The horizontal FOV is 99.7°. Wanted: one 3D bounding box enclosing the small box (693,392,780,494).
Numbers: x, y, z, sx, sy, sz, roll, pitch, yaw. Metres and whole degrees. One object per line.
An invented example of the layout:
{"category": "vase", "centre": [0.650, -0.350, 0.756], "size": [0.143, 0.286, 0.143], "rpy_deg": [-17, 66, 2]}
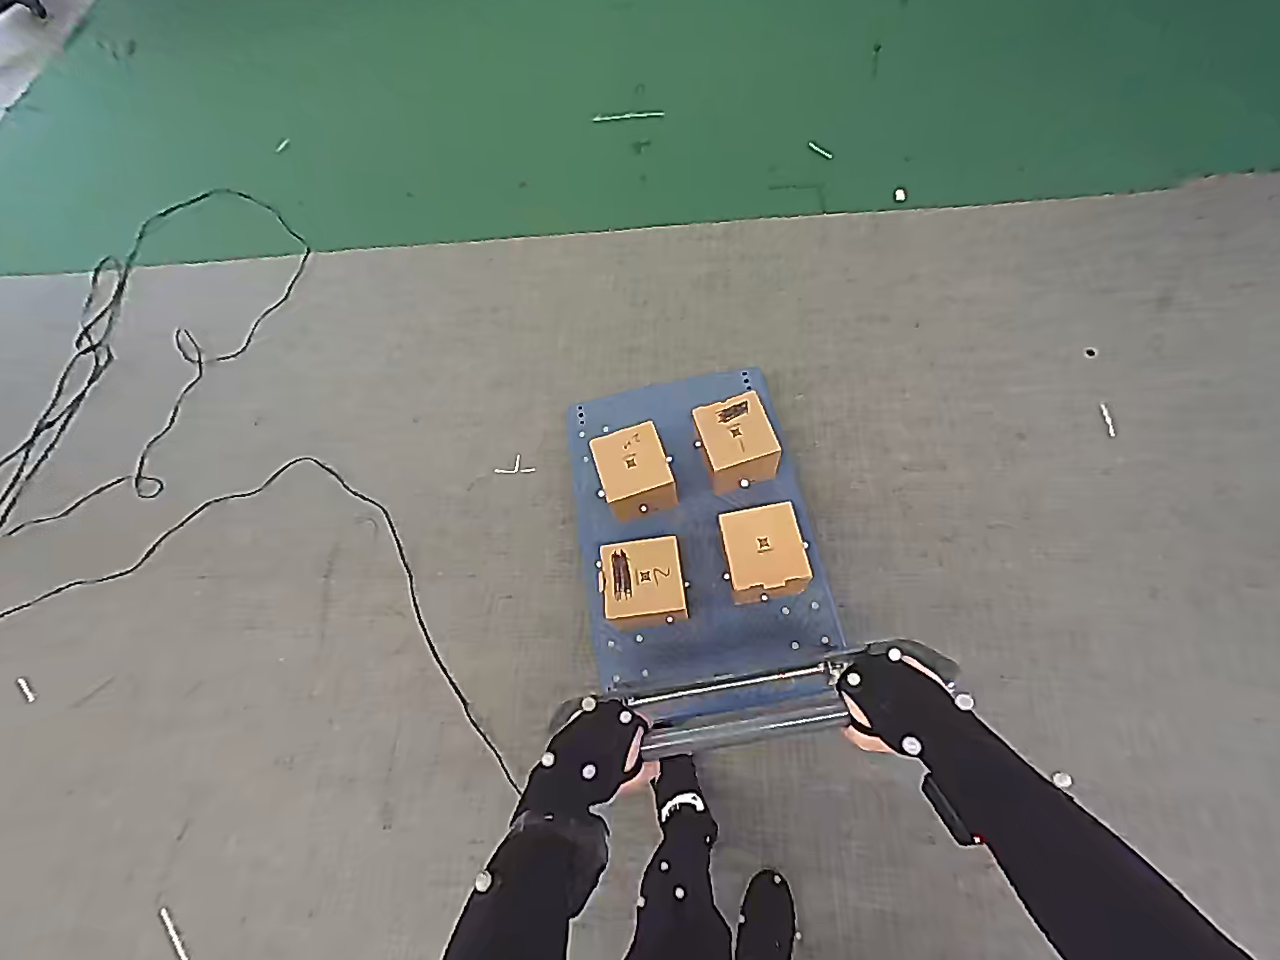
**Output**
{"category": "small box", "centre": [0.236, -0.088, 1.365], "size": [0.168, 0.176, 0.179], "rpy_deg": [-18, 67, 0]}

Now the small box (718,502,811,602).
{"category": "small box", "centre": [0.278, 0.171, 1.251], "size": [0.168, 0.176, 0.179], "rpy_deg": [-11, 67, 3]}

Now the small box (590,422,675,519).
{"category": "small box", "centre": [-0.014, -0.015, 1.365], "size": [0.168, 0.176, 0.179], "rpy_deg": [-18, 66, -1]}
